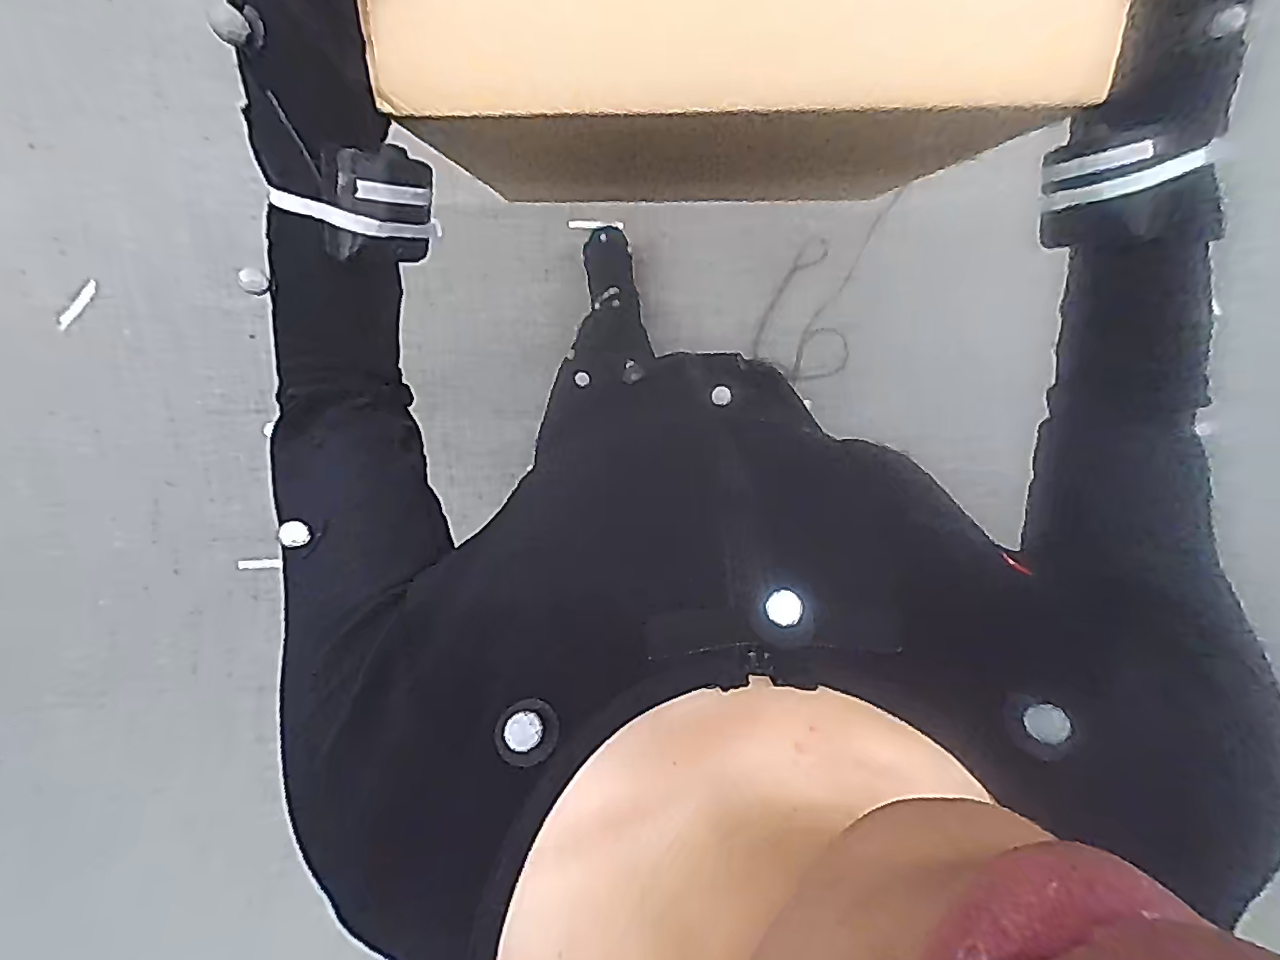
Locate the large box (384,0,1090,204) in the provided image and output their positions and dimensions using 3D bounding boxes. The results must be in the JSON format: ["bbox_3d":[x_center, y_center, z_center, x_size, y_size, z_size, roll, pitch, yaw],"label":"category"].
[{"bbox_3d":[0.049,-0.413,0.411,0.408,0.320,0.320,-1,109,0],"label":"large box"}]
